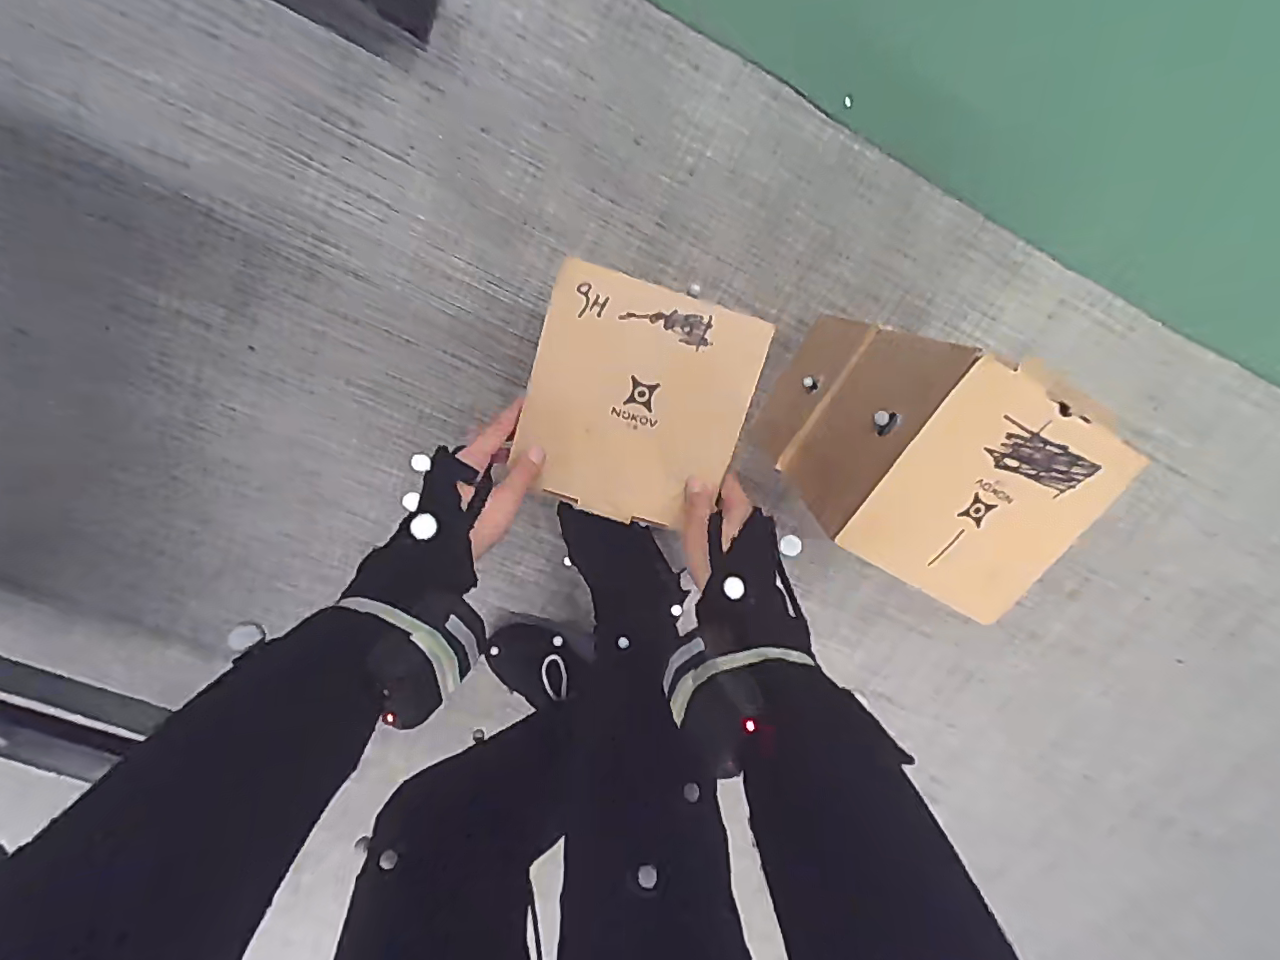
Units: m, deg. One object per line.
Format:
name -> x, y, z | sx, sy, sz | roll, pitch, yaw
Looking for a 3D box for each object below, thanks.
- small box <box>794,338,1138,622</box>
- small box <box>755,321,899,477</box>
small box -> 0.267, -0.014, 0.495 | 0.168, 0.176, 0.179 | 29, 108, -9
small box -> 0.259, -0.074, 0.648 | 0.168, 0.176, 0.179 | 29, 108, -10
